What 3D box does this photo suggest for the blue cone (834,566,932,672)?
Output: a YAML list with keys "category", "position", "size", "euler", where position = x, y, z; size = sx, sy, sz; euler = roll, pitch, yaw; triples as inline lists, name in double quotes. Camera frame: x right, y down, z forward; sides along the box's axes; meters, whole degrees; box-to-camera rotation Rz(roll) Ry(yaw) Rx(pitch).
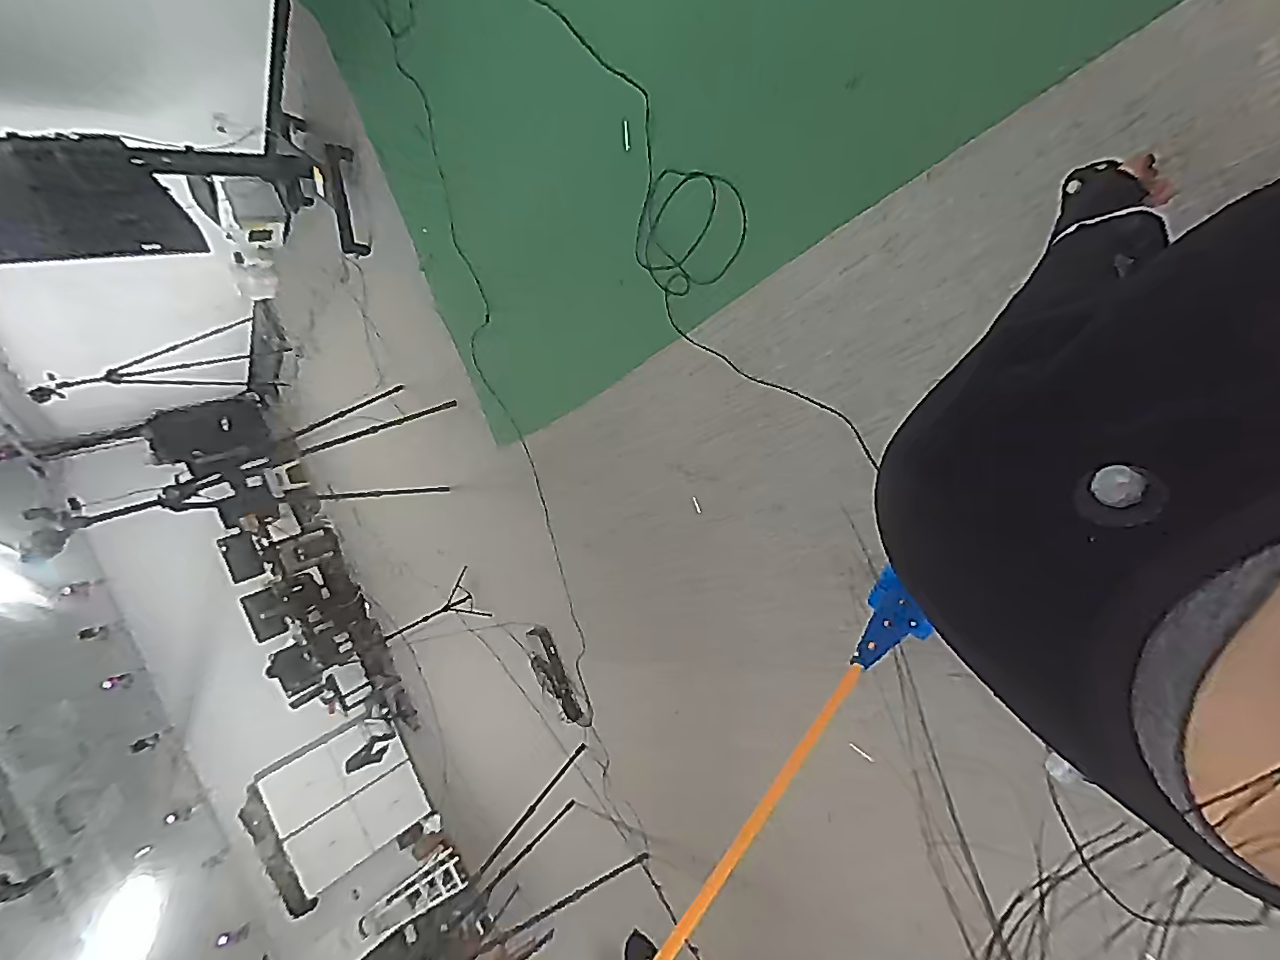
- category: "blue cone"
  position: [0.670, 0.433, 1.554]
  size: [0.192, 0.380, 0.193]
  euler: [34, 133, 30]
